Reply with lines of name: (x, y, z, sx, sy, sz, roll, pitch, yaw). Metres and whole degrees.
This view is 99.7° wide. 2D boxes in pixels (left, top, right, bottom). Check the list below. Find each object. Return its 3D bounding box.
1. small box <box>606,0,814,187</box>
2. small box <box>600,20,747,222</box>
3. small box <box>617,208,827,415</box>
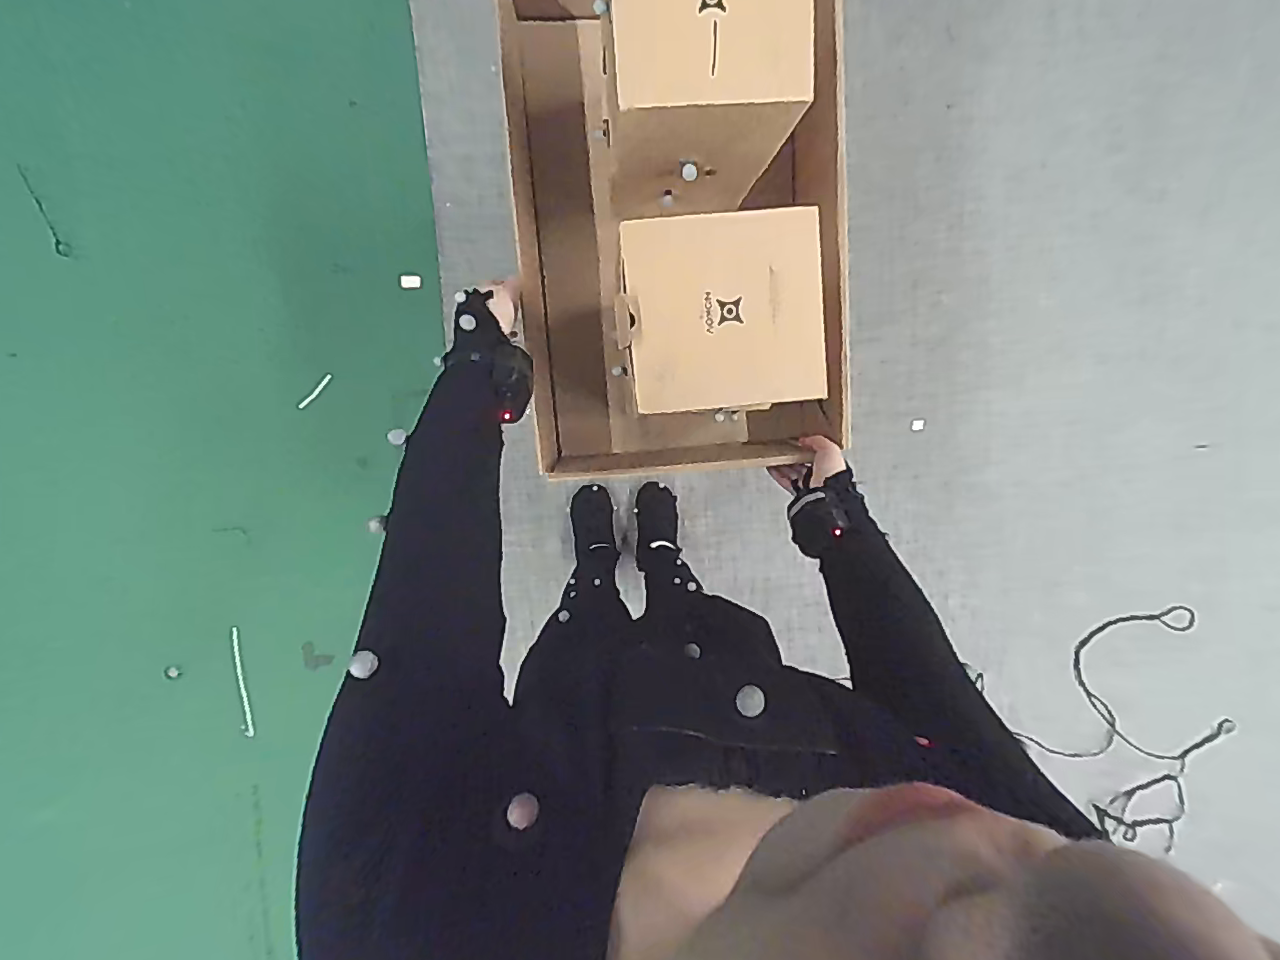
small box: (0.054, -0.405, 0.514, 0.168, 0.176, 0.179, -4, 100, -2)
small box: (0.046, -0.434, 0.676, 0.179, 0.176, 0.168, -3, 100, -2)
small box: (0.071, -0.155, 0.551, 0.179, 0.176, 0.168, -6, 98, -3)
